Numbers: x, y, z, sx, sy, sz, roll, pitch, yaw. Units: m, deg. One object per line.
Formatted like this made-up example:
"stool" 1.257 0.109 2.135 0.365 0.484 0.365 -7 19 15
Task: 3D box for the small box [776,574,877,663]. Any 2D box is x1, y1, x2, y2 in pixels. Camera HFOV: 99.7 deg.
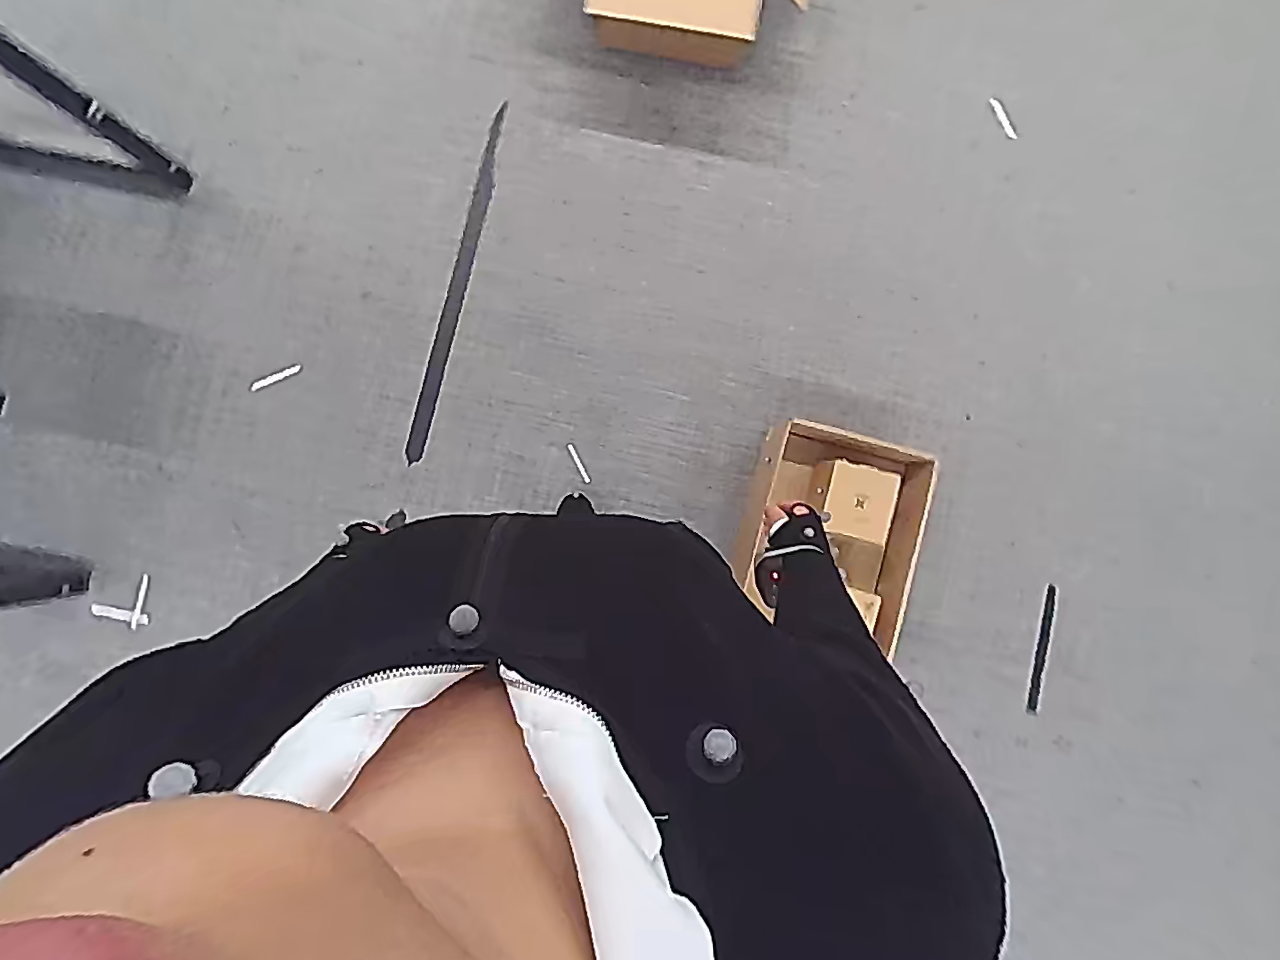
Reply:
"small box" 0.465 0.343 1.378 0.179 0.176 0.168 17 86 1

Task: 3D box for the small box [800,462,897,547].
"small box" 0.527 0.060 1.391 0.168 0.176 0.179 15 89 1
